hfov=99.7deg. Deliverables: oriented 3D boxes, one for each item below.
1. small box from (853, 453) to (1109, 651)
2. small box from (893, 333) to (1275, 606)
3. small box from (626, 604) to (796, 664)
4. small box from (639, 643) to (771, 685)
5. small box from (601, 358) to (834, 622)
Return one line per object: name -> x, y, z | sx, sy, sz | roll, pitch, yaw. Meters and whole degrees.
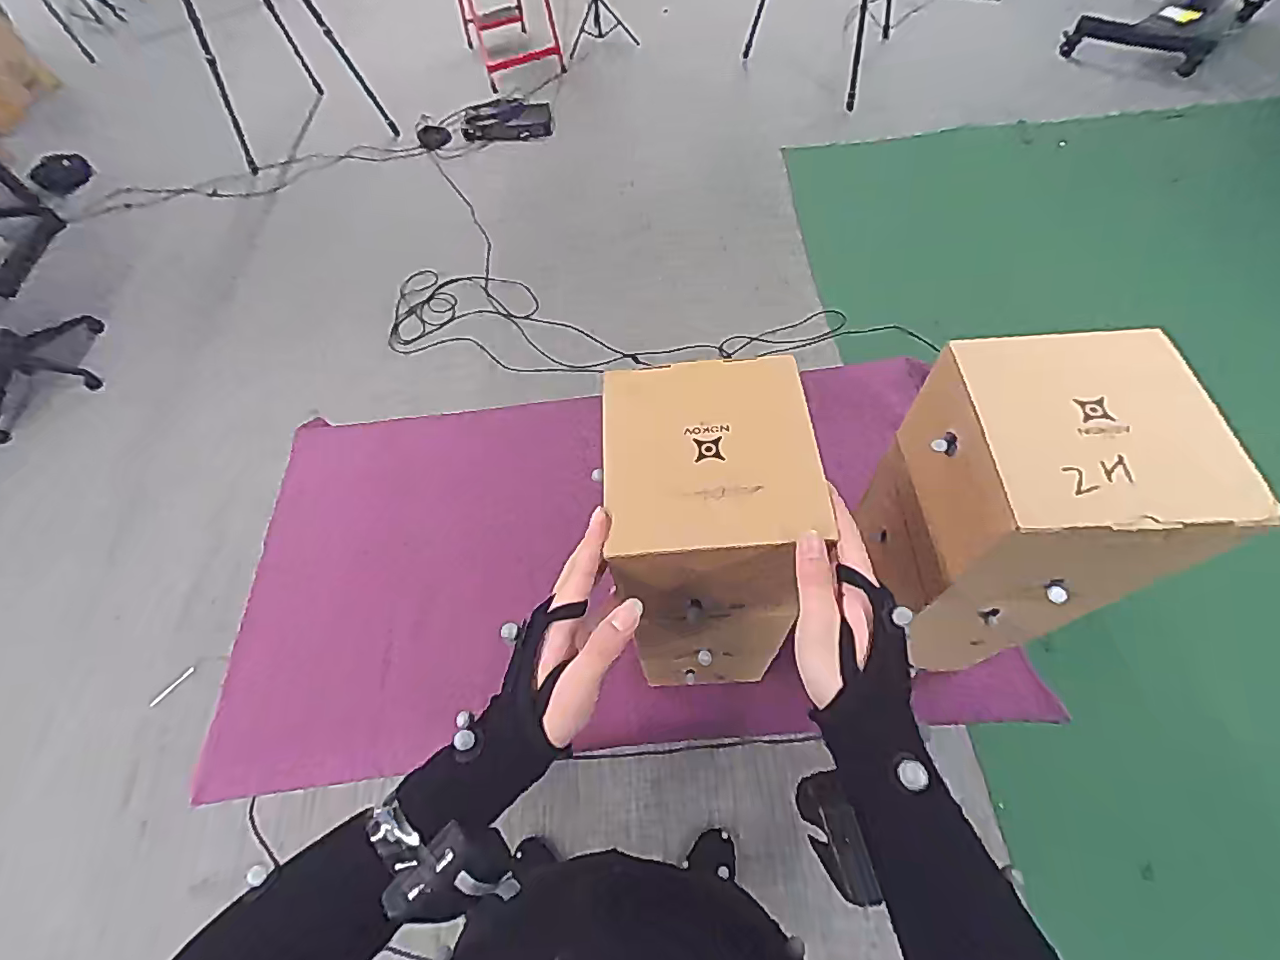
small box -> 0.354, 0.083, 0.608 | 0.168, 0.176, 0.179 | -3, 59, 5
small box -> 0.339, -0.002, 0.467 | 0.168, 0.176, 0.179 | -2, 60, 6
small box -> 0.073, 0.103, 0.628 | 0.168, 0.176, 0.179 | -4, 59, 4
small box -> 0.086, 0.188, 0.768 | 0.168, 0.176, 0.179 | -5, 58, 3
small box -> 0.058, 0.016, 0.488 | 0.168, 0.176, 0.179 | -5, 60, 4
